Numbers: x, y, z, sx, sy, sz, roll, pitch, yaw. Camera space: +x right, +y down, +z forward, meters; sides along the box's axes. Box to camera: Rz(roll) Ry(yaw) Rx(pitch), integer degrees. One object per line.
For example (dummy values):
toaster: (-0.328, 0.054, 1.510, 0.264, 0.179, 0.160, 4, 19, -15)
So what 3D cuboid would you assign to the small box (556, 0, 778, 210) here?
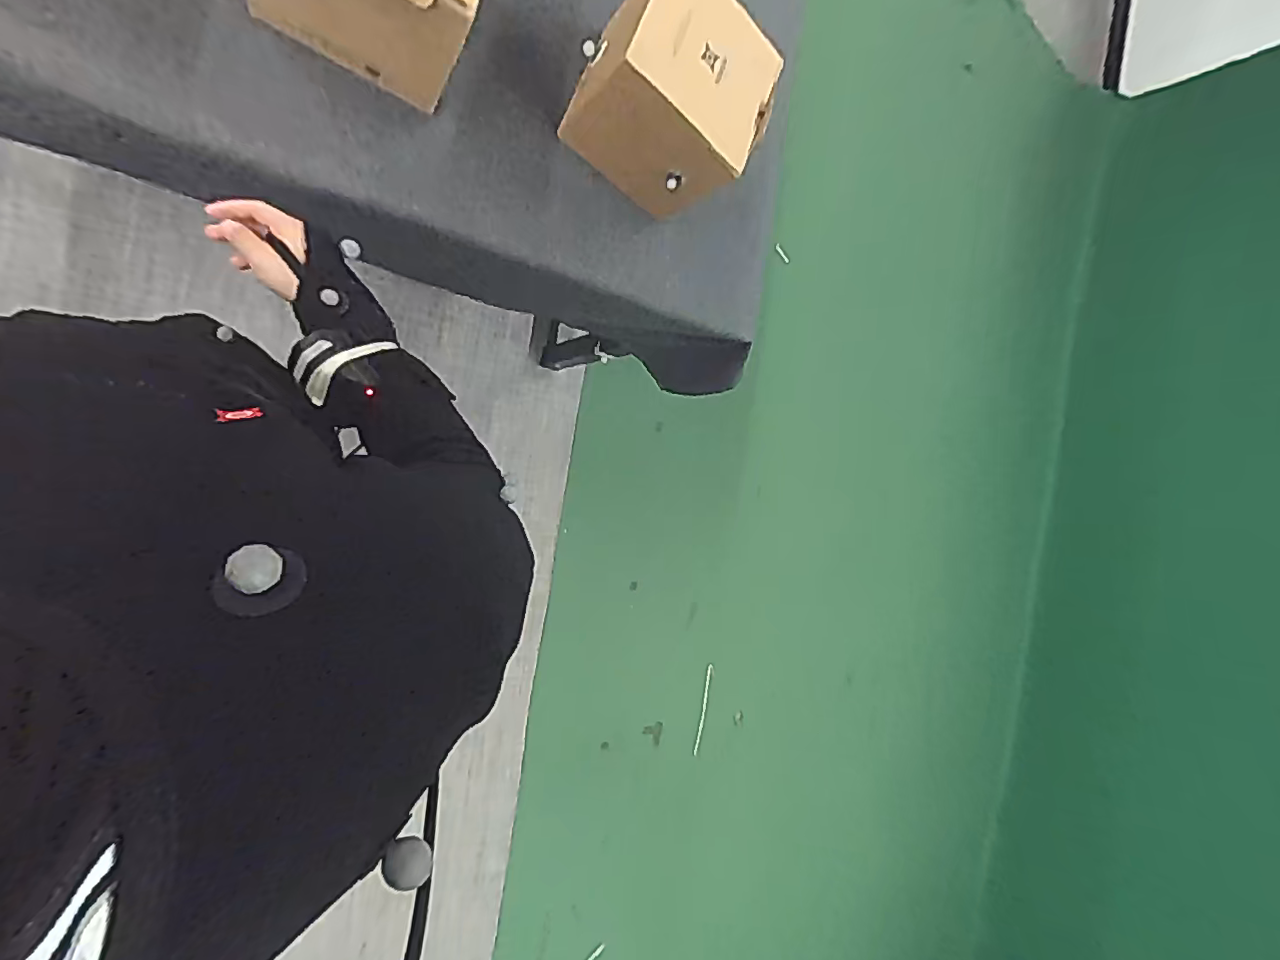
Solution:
small box: (0.029, -0.463, 0.659, 0.179, 0.176, 0.168, 27, 79, -32)
